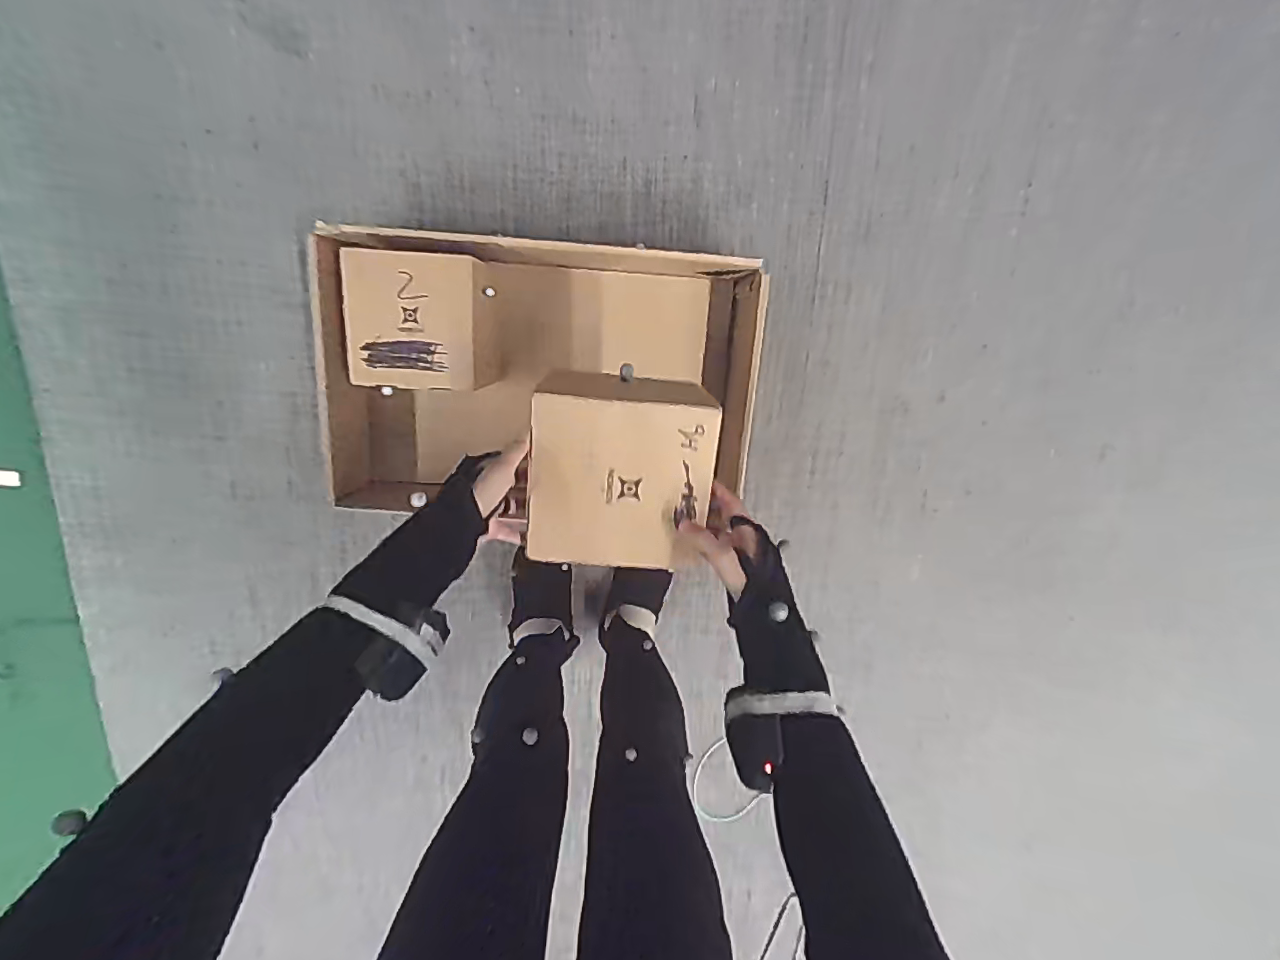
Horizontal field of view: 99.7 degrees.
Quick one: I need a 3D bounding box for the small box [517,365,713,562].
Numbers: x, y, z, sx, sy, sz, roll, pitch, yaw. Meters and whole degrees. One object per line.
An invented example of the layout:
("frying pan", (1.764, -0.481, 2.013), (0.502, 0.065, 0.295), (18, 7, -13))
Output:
("small box", (-0.028, -0.028, 0.590), (0.179, 0.176, 0.168), (5, 109, -3))
